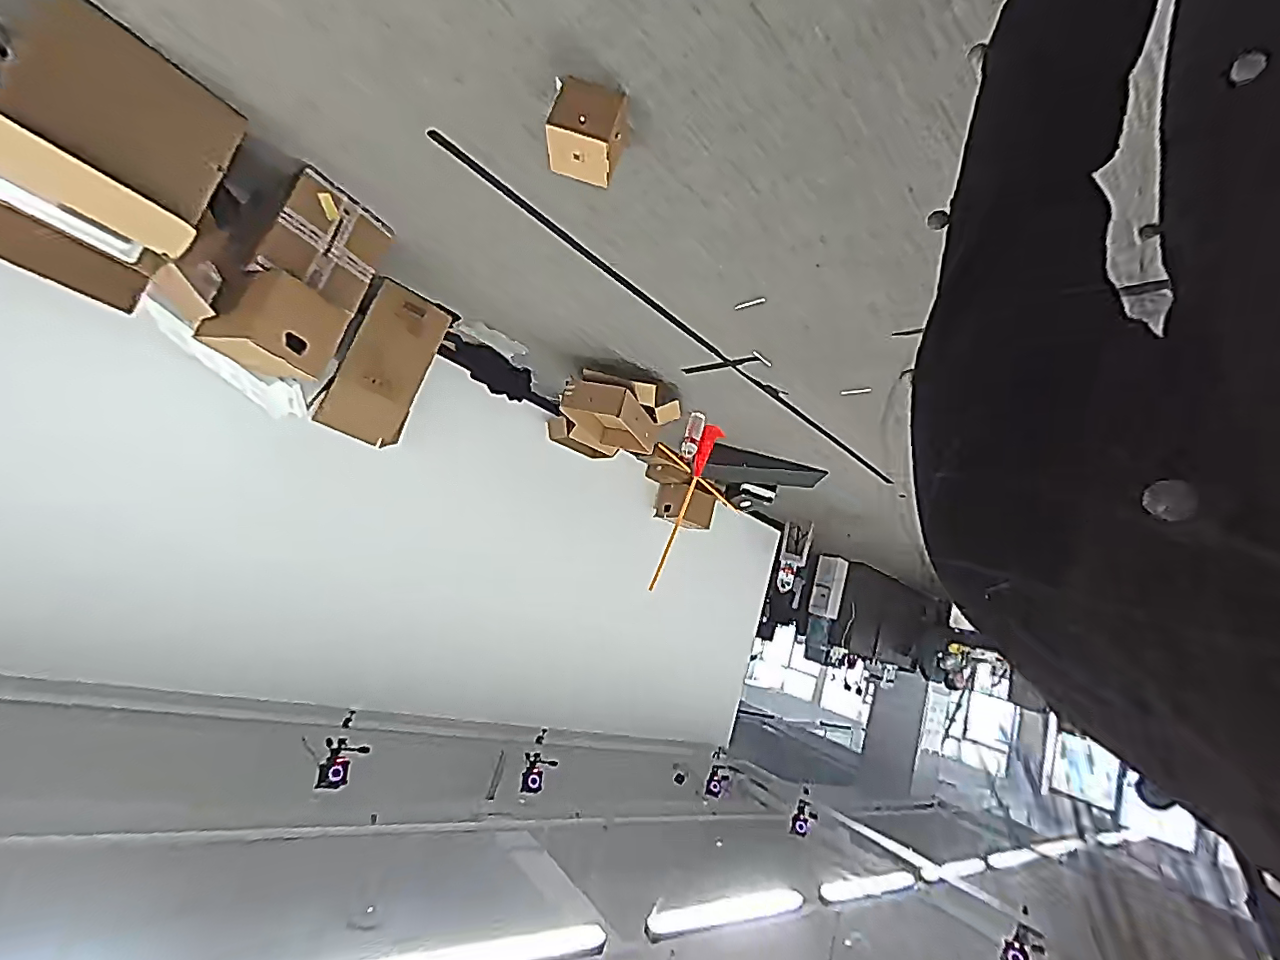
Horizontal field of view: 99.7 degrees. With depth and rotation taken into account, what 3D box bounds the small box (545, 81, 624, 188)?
[{"bbox_3d":[-0.149,-0.964,1.508,0.179,0.176,0.168,18,167,1],"label":"small box"}]
